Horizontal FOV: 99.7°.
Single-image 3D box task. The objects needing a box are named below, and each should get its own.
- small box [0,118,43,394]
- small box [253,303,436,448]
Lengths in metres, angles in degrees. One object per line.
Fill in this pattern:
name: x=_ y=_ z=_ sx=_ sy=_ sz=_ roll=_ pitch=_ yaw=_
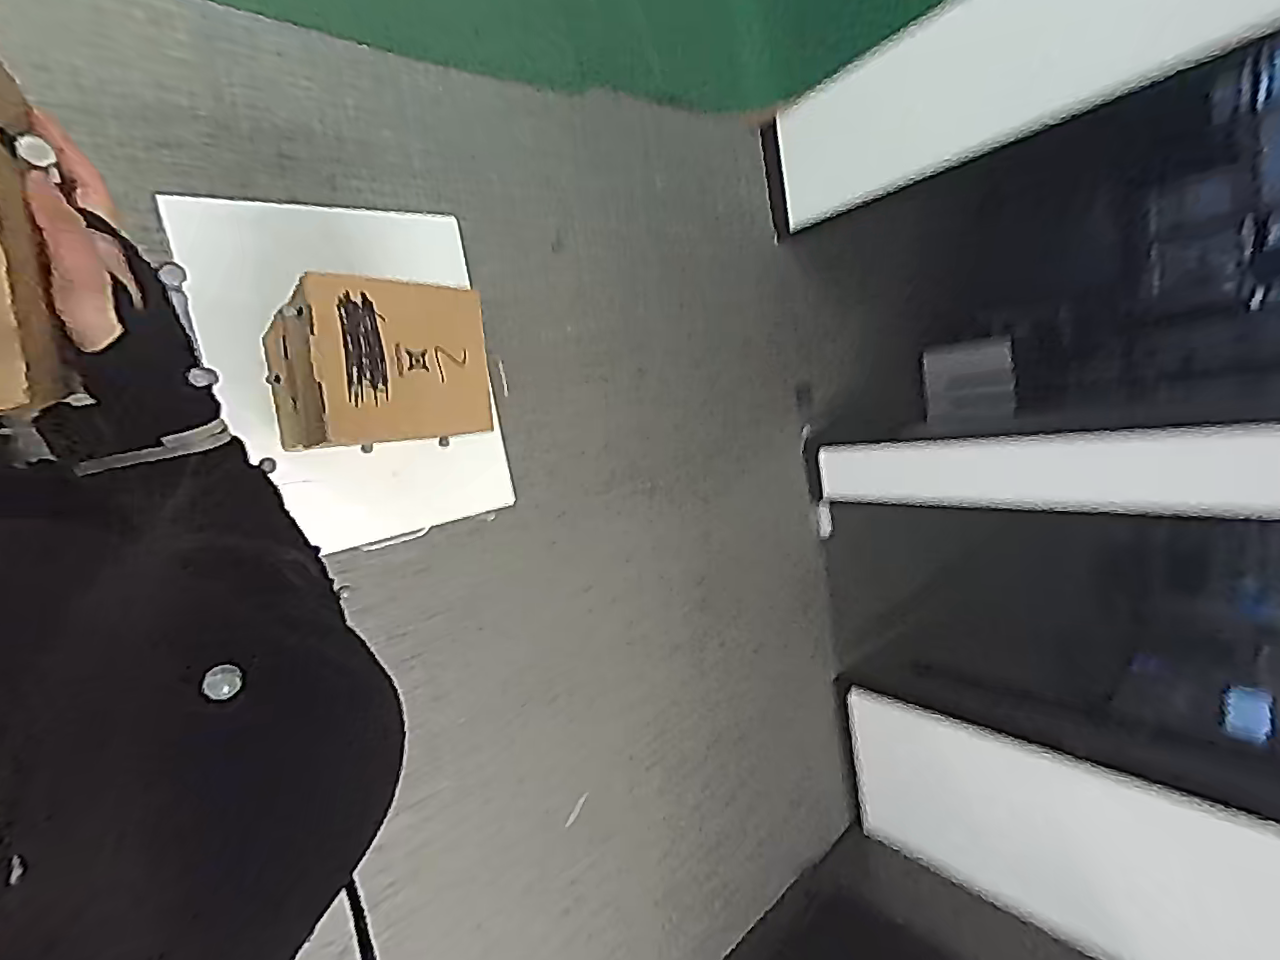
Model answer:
small box: x=-0.398 y=-0.128 z=0.230 sx=0.168 sy=0.176 sz=0.179 roll=-7 pitch=105 yaw=-39
small box: x=-0.403 y=-0.134 z=0.738 sx=0.179 sy=0.176 sz=0.168 roll=-11 pitch=97 yaw=-40
